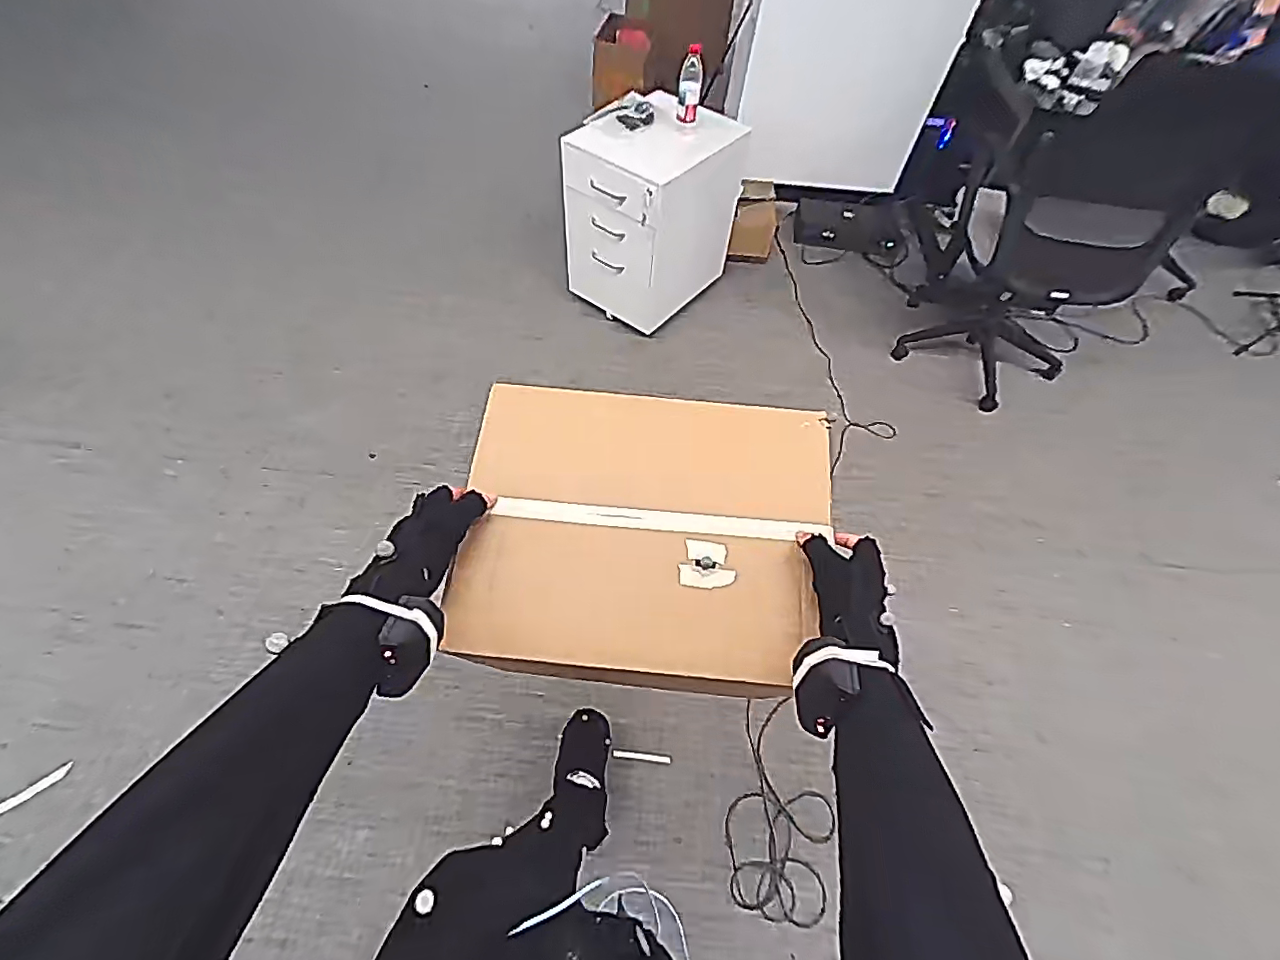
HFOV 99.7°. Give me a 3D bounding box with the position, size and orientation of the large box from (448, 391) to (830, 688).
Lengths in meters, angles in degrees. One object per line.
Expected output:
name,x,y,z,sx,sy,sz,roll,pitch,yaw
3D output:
large box,0.005,0.102,0.748,0.408,0.320,0.320,5,67,1
